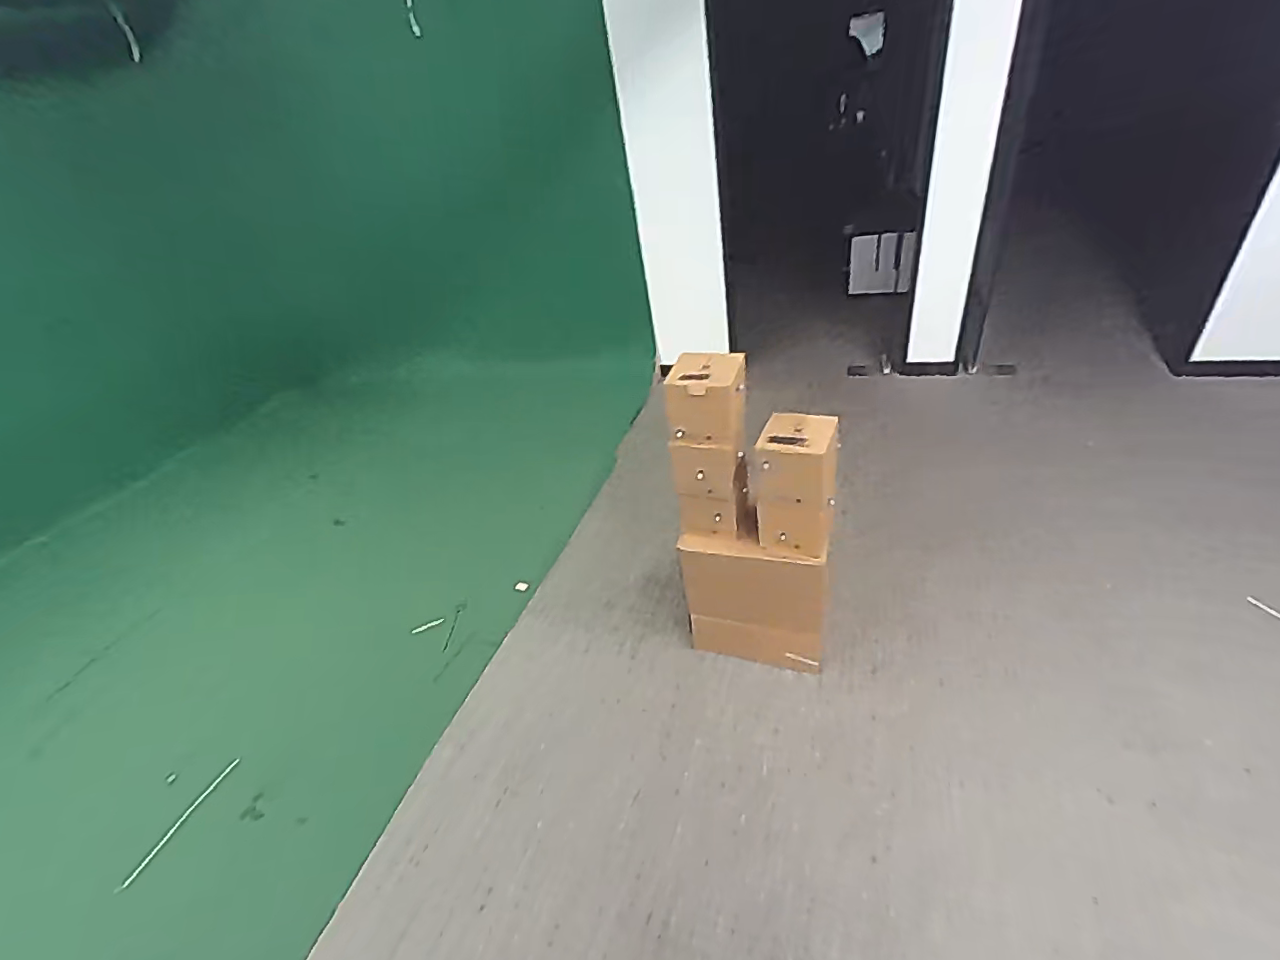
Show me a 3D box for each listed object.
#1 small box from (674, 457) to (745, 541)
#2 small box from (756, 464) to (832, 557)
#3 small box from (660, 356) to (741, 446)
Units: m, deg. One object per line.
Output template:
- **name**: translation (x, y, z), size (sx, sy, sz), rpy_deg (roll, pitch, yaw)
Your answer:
- **small box**: translation (0.210, 0.056, 1.572), size (0.168, 0.176, 0.179), rpy_deg (7, 40, 21)
- **small box**: translation (0.421, 0.080, 1.474), size (0.168, 0.176, 0.179), rpy_deg (8, 40, 27)
- **small box**: translation (0.161, -0.201, 1.373), size (0.168, 0.176, 0.179), rpy_deg (6, 39, 19)
